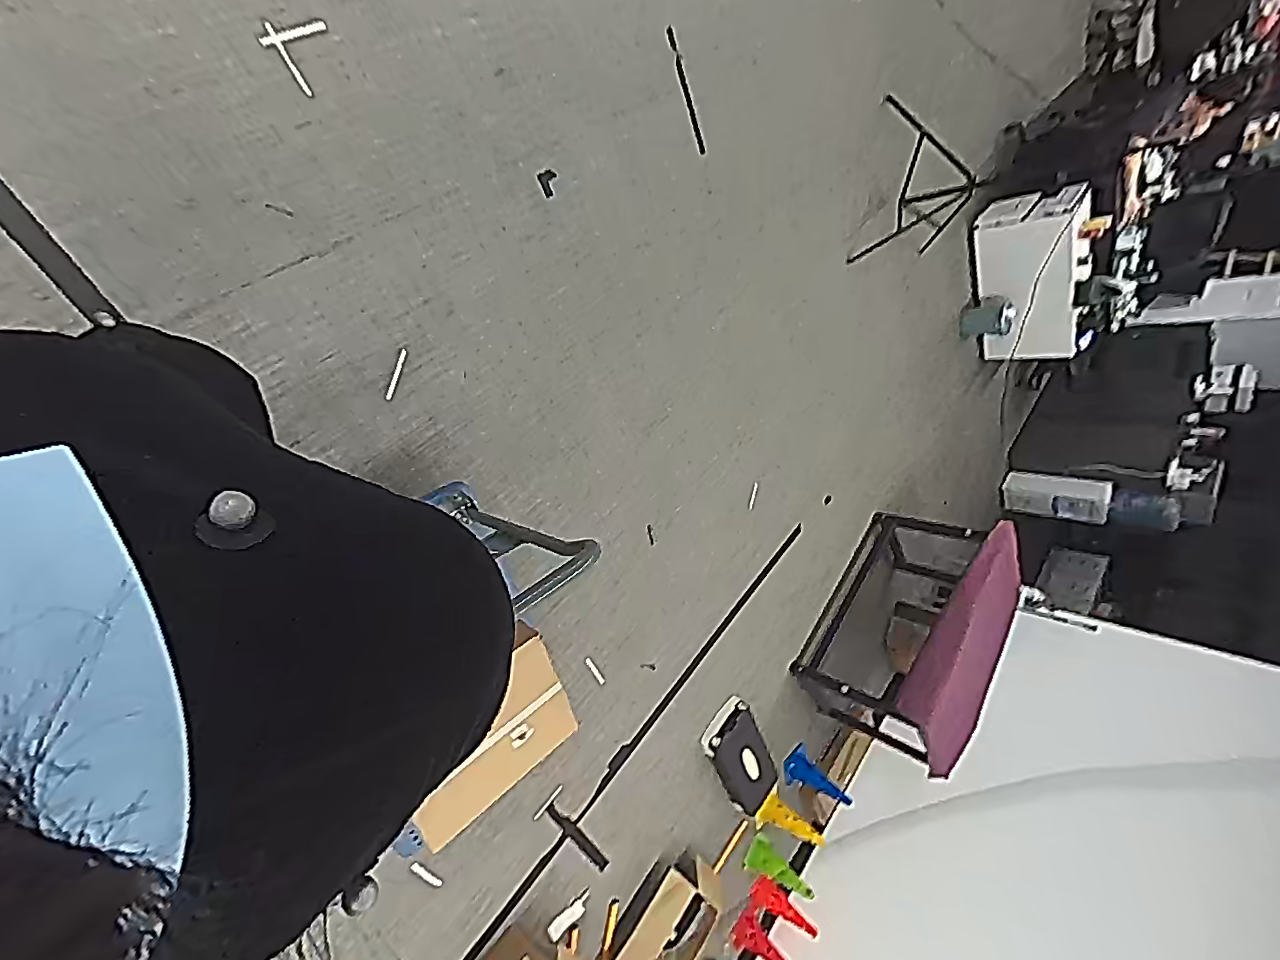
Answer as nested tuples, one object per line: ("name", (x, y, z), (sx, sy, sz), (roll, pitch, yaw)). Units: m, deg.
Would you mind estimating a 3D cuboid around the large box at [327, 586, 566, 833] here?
("large box", (-0.465, 0.526, 1.328), (0.408, 0.320, 0.320), (-33, 119, -34))
